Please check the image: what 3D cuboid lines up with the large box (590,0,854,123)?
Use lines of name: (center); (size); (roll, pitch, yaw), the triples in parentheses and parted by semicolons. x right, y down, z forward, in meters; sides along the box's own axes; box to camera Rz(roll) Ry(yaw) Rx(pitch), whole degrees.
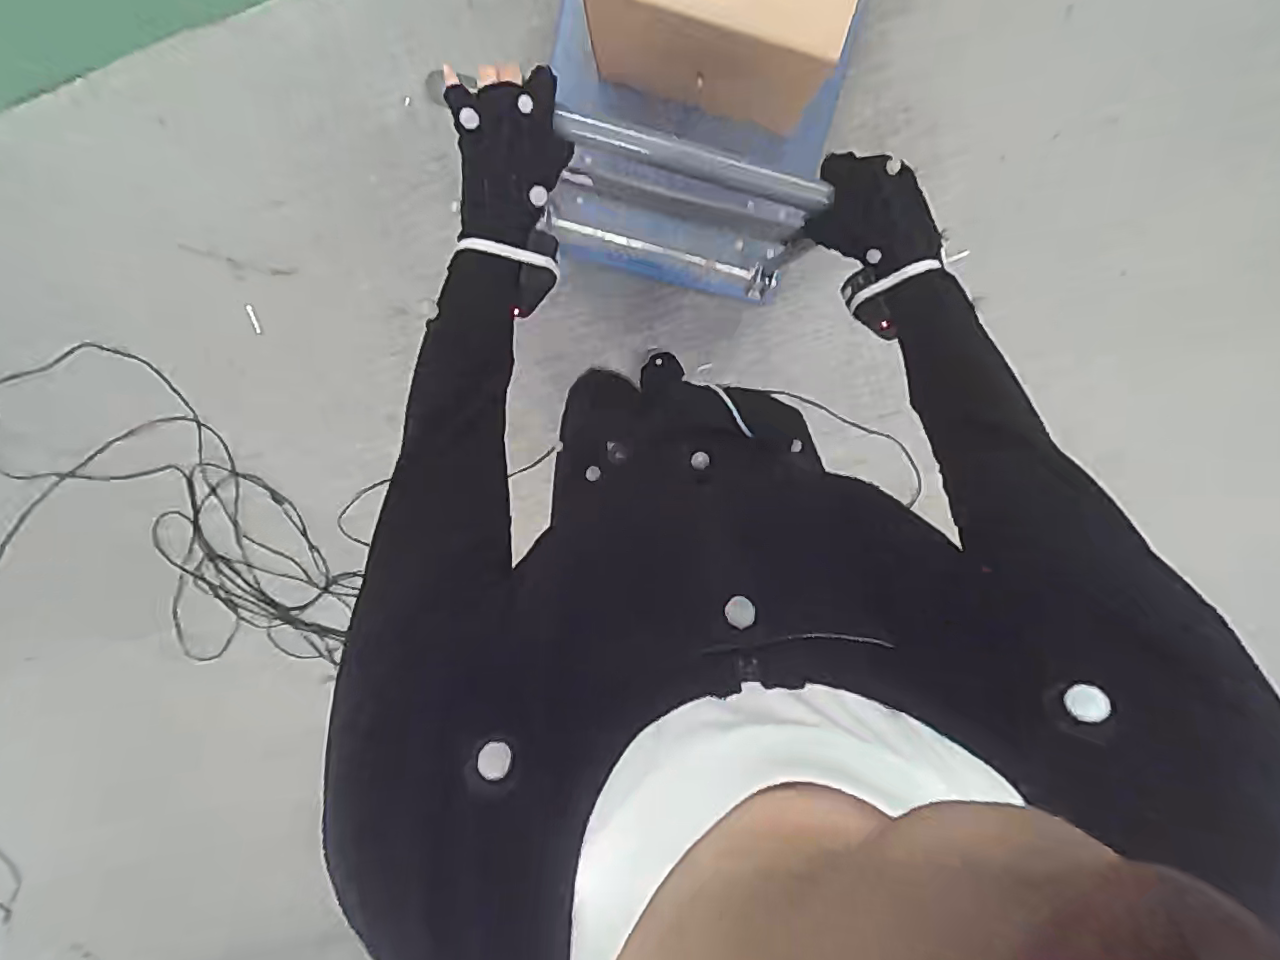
large box: (0.153, -0.875, 0.918); (0.408, 0.320, 0.320); (15, 103, -2)
